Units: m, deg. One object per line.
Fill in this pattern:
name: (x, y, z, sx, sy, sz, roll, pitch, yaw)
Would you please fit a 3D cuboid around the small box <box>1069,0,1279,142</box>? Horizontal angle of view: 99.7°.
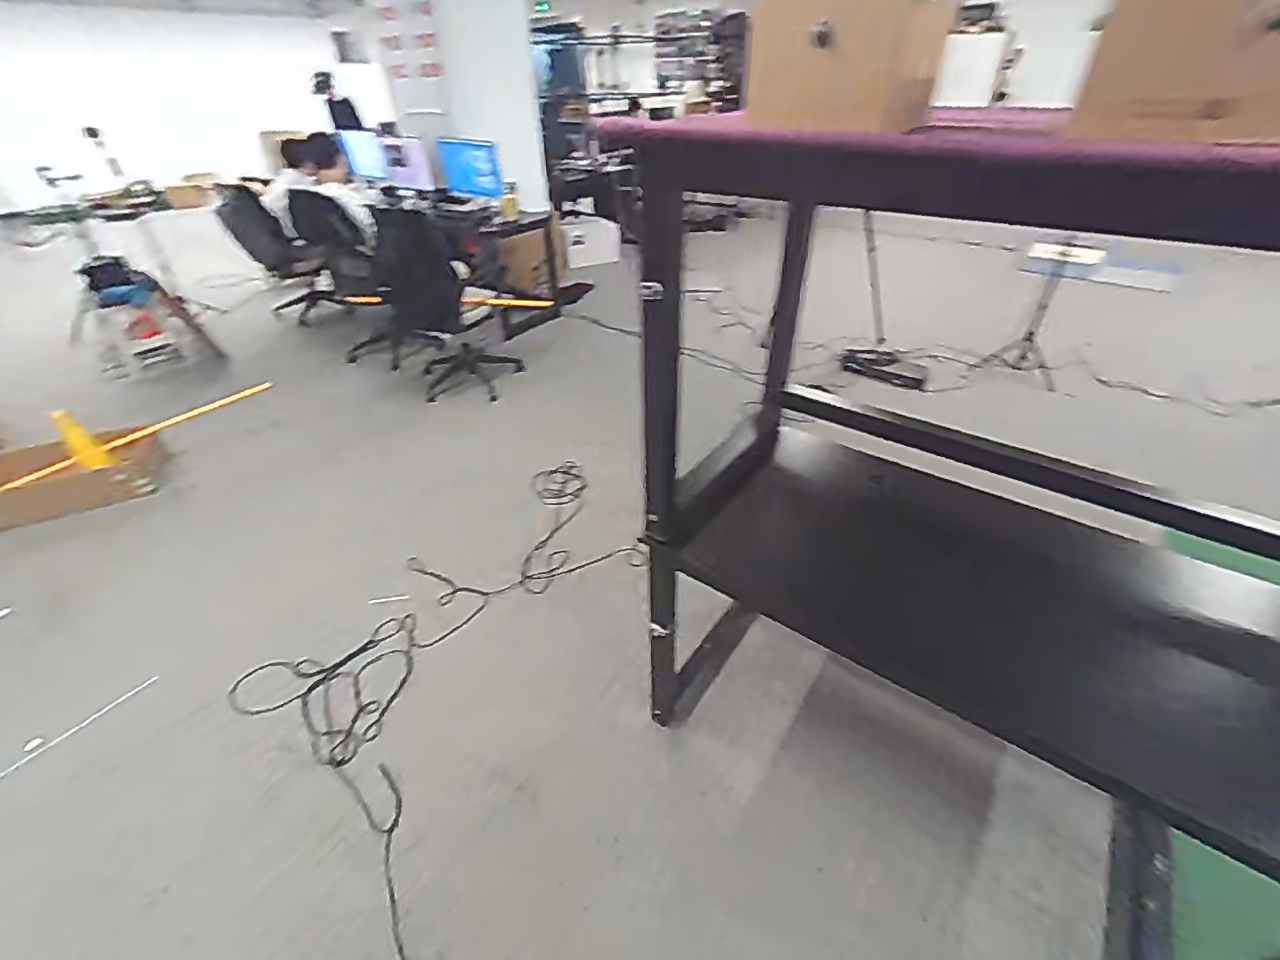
small box: (0.518, -0.404, 0.477, 0.168, 0.176, 0.179, 26, 44, 31)
